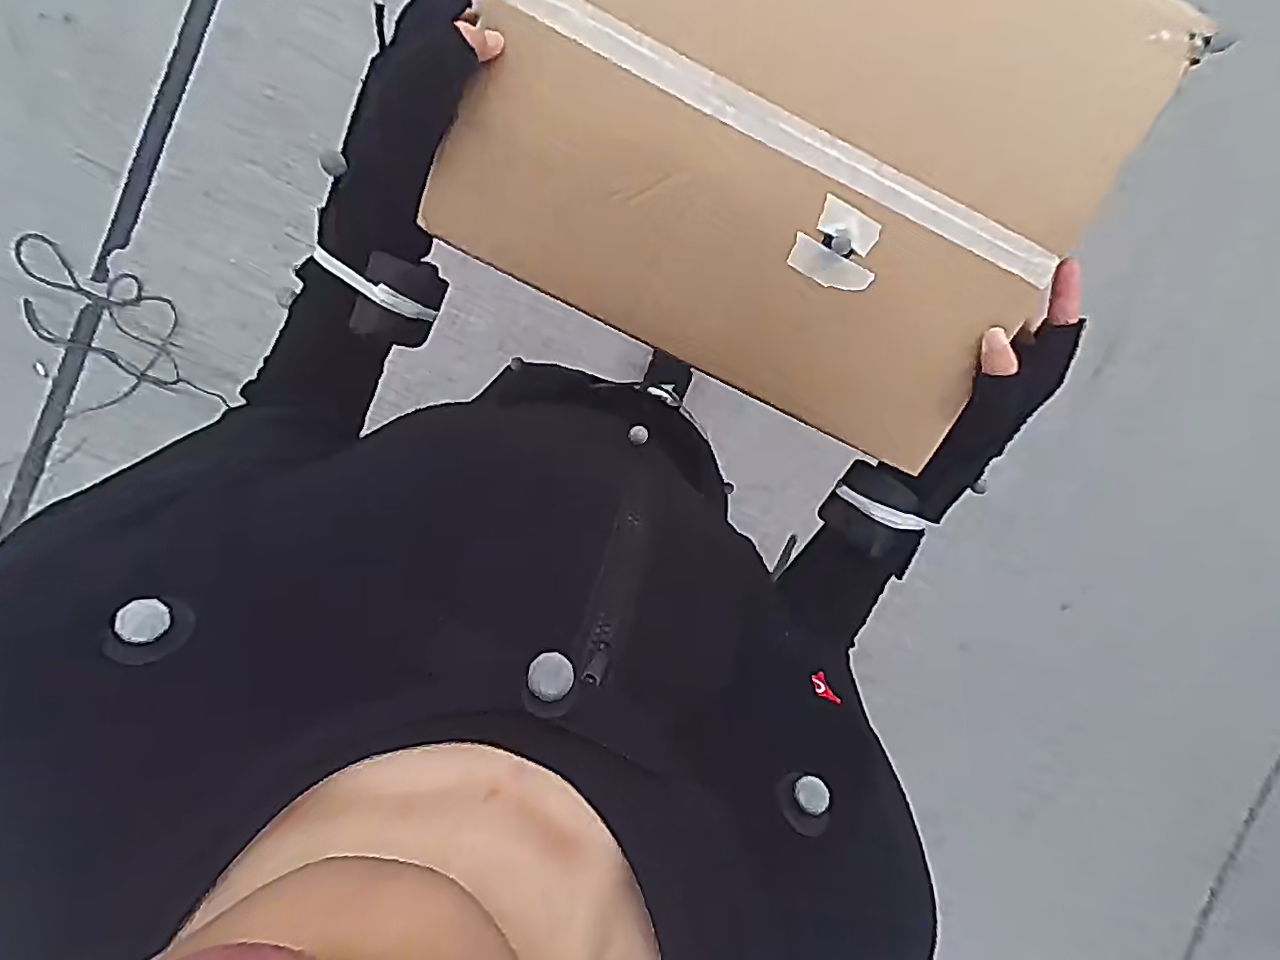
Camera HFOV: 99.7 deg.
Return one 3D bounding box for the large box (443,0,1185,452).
[{"bbox_3d":[0.104,-0.274,0.503,0.408,0.320,0.320,26,107,-5],"label":"large box"}]
